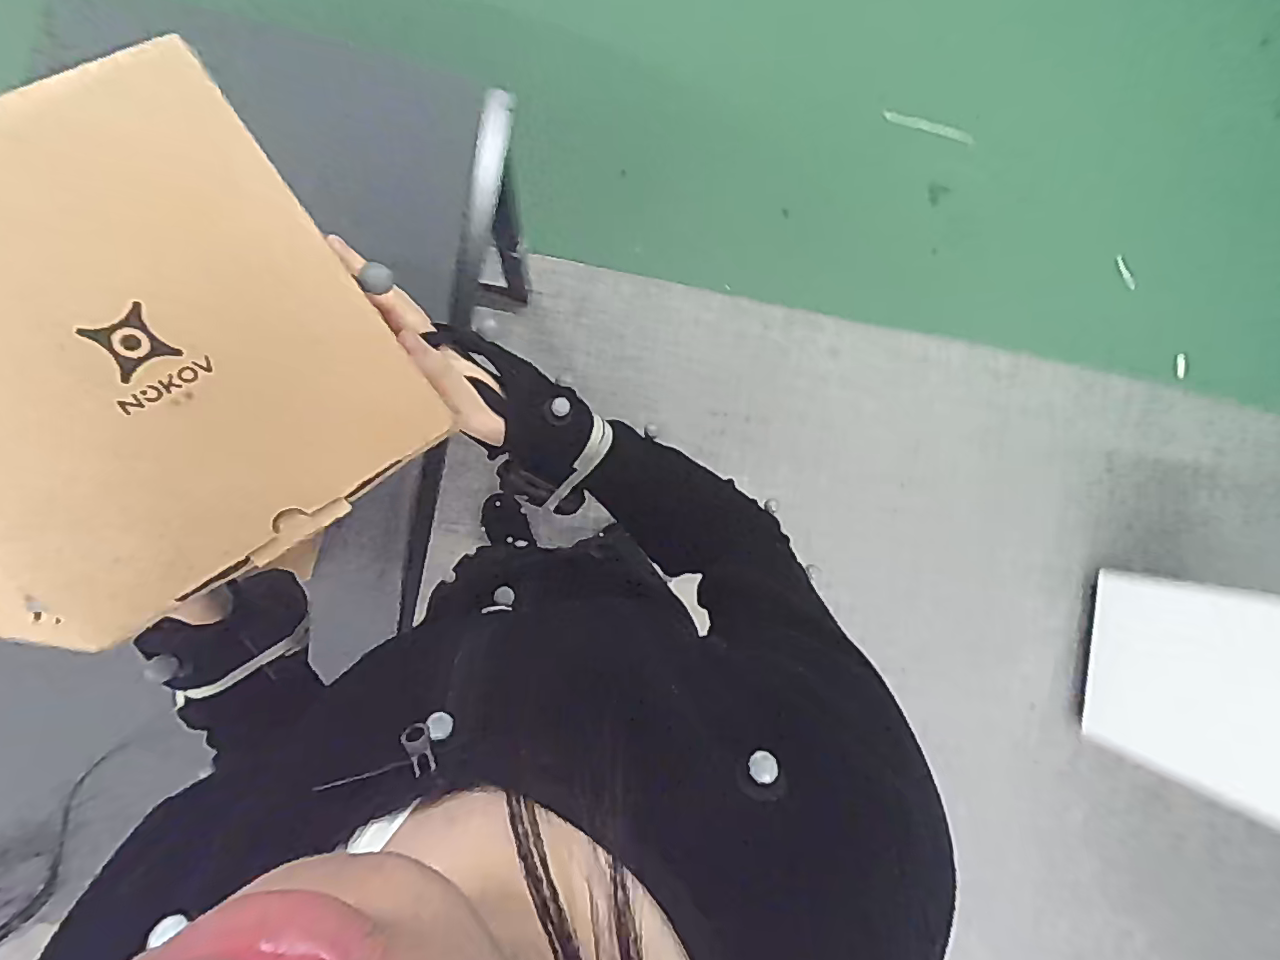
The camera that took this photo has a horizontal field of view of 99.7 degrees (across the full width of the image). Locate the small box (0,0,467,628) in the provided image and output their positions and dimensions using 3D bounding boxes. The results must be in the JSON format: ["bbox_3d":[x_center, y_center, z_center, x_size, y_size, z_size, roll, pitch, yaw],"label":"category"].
[{"bbox_3d":[-0.213,-0.067,0.267,0.168,0.176,0.179,-36,110,-15],"label":"small box"}]

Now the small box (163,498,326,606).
[{"bbox_3d":[-0.500,0.033,0.628,0.179,0.176,0.168,15,87,-7],"label":"small box"}]
